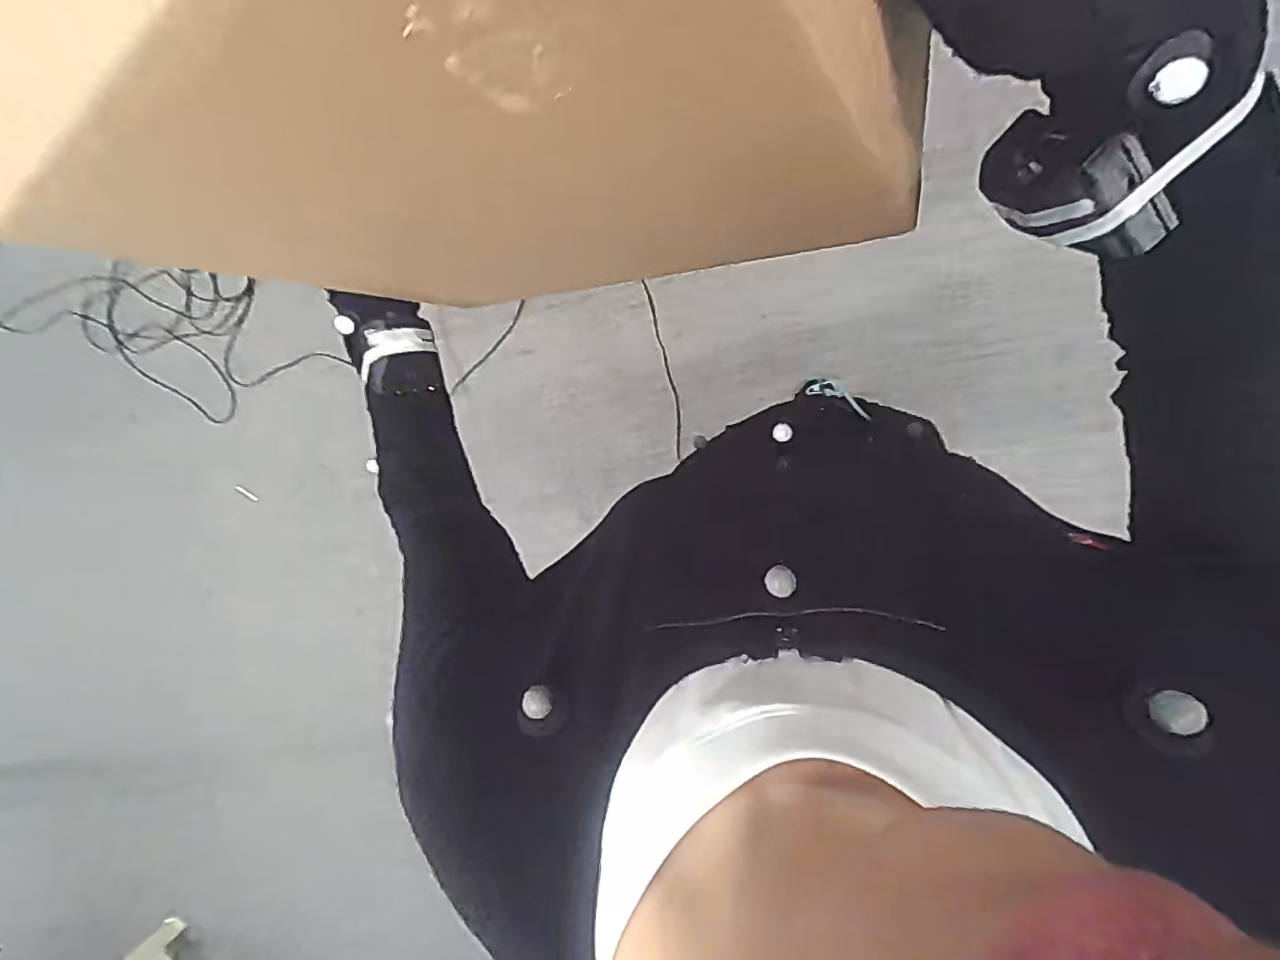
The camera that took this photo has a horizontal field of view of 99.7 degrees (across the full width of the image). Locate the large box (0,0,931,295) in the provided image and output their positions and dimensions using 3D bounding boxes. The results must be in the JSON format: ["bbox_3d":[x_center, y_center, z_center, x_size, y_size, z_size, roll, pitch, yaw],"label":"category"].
[{"bbox_3d":[-0.086,-0.302,0.279,0.408,0.320,0.320,4,101,34],"label":"large box"}]
